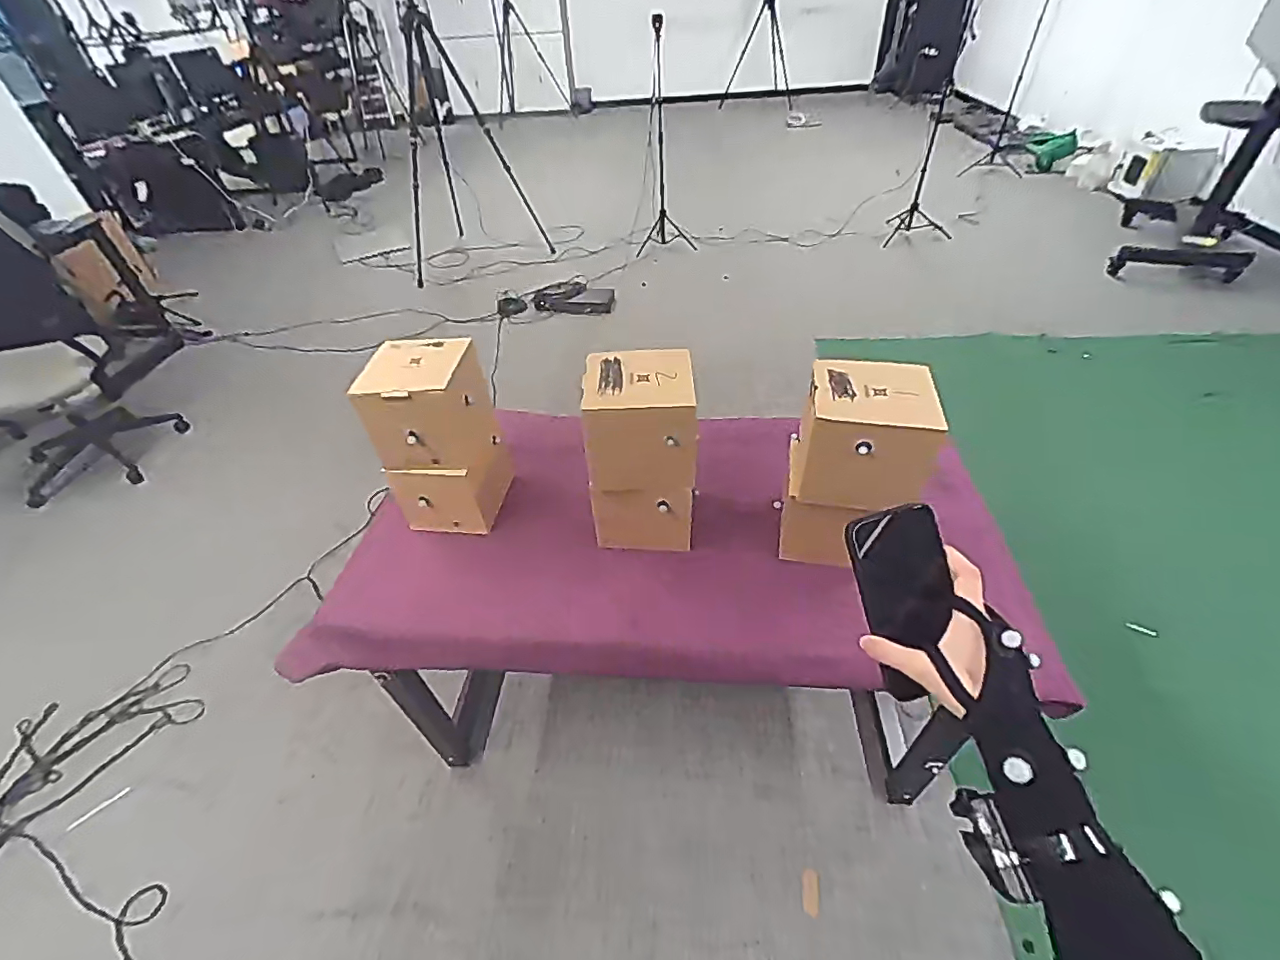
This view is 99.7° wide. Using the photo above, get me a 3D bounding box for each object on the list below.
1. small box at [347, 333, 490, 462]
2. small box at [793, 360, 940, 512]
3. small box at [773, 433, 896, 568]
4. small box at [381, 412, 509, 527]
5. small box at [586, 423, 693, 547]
[{"bbox_3d":[-0.386,-0.147,0.982,0.168,0.176,0.179,0,44,3],"label":"small box"},{"bbox_3d":[0.340,-0.069,0.849,0.179,0.176,0.168,7,44,11],"label":"small box"},{"bbox_3d":[0.342,0.039,0.973,0.179,0.176,0.168,7,44,12],"label":"small box"},{"bbox_3d":[-0.378,-0.022,1.089,0.168,0.176,0.179,3,44,8],"label":"small box"},{"bbox_3d":[0.006,0.011,1.025,0.179,0.176,0.168,3,44,7],"label":"small box"}]
